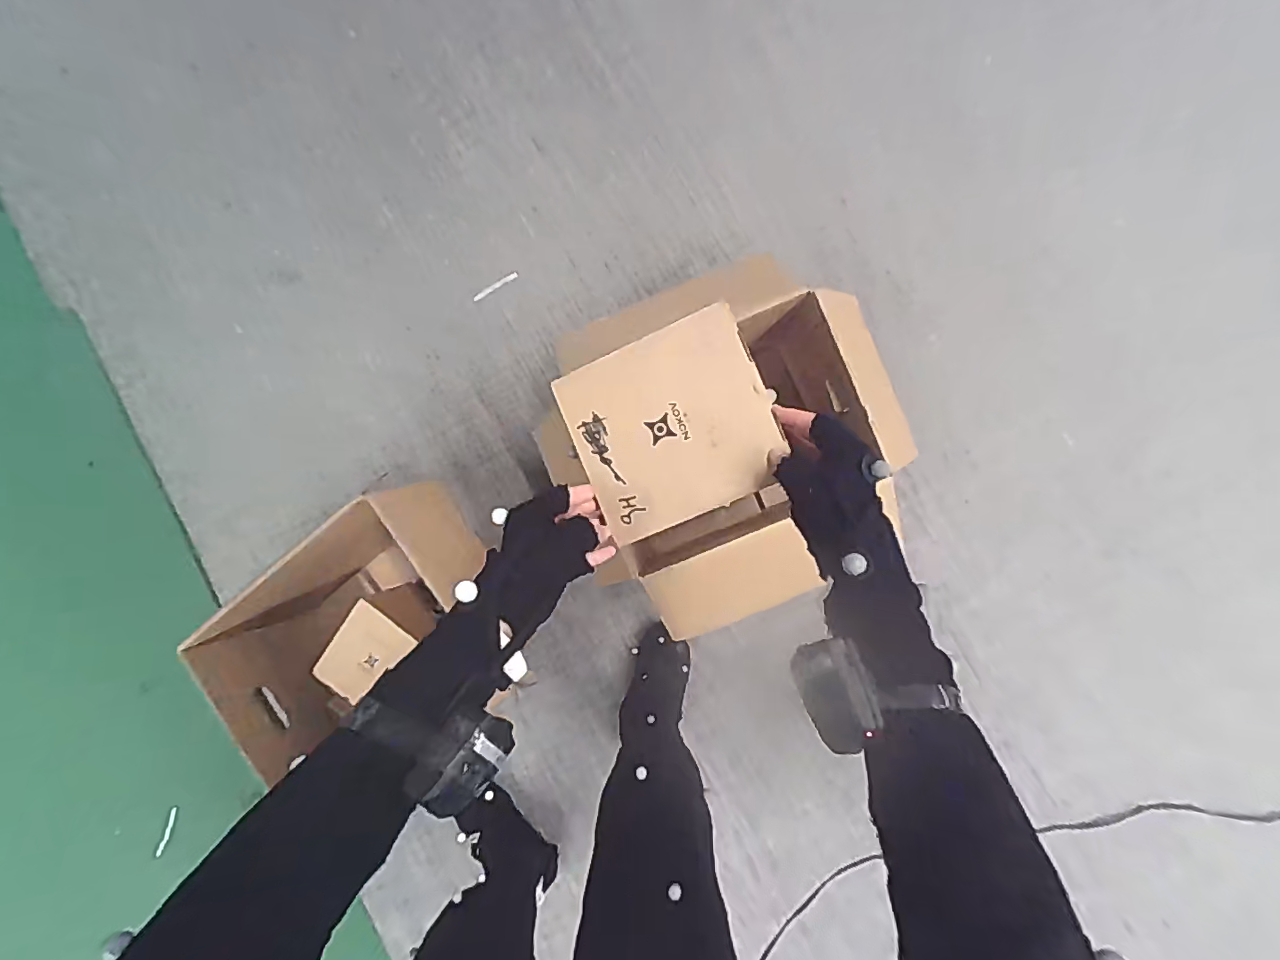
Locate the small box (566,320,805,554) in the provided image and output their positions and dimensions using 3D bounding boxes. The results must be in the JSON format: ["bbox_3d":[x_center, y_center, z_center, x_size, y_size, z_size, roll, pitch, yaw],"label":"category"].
[{"bbox_3d":[0.050,-0.039,0.570,0.179,0.176,0.168,-24,86,9],"label":"small box"}]
